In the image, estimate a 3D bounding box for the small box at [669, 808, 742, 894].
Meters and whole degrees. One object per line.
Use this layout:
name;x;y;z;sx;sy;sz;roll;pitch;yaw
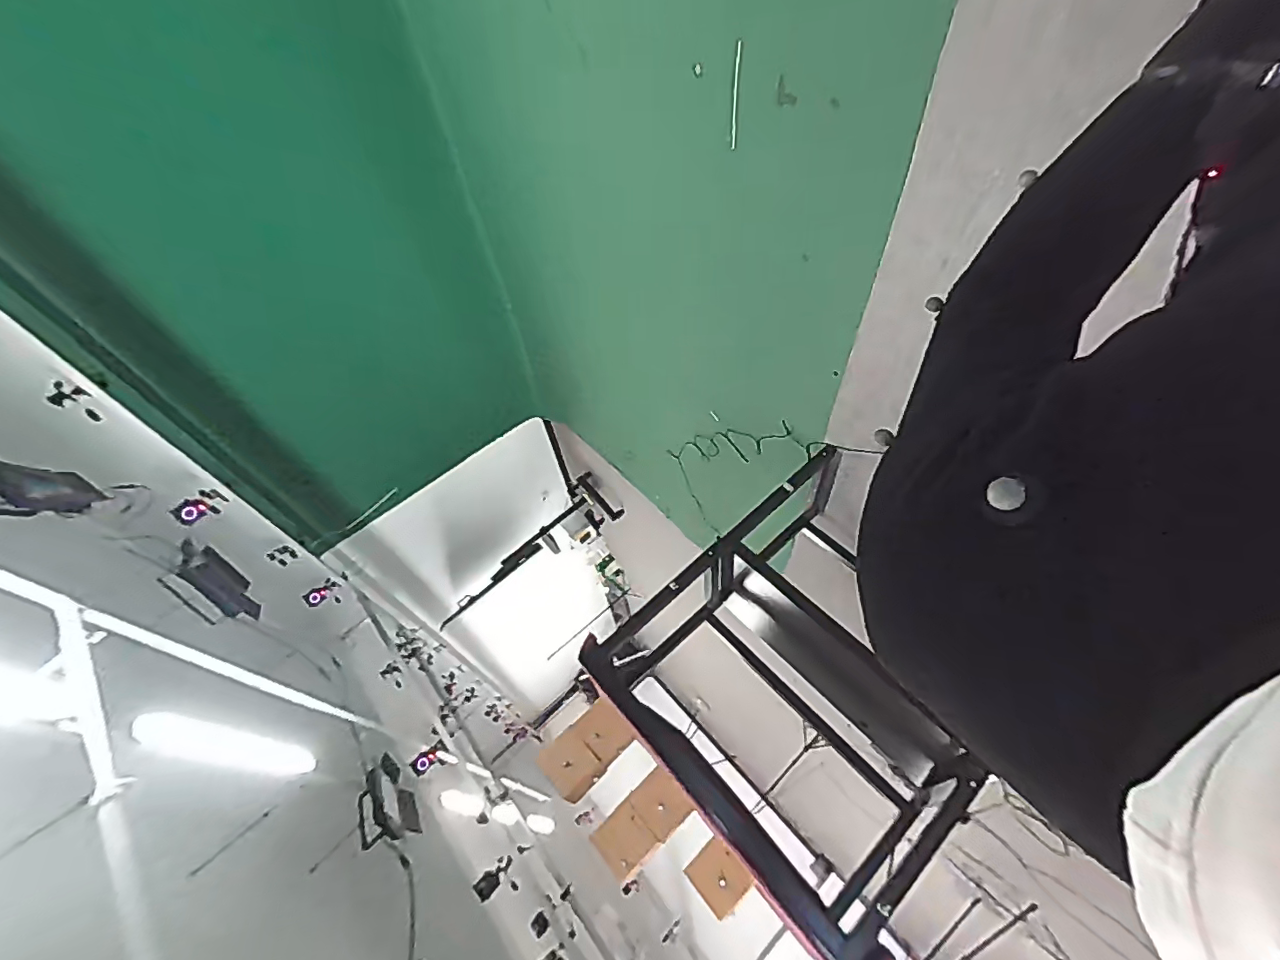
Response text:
small box;0.219;1.207;1.766;0.168;0.176;0.179;39;159;32

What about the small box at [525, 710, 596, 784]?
small box;-0.288;0.975;1.989;0.179;0.176;0.168;37;158;29

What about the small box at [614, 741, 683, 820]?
small box;0.036;1.048;1.888;0.179;0.176;0.168;41;159;26

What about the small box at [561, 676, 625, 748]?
small box;-0.169;0.876;2.042;0.179;0.176;0.168;42;160;24
